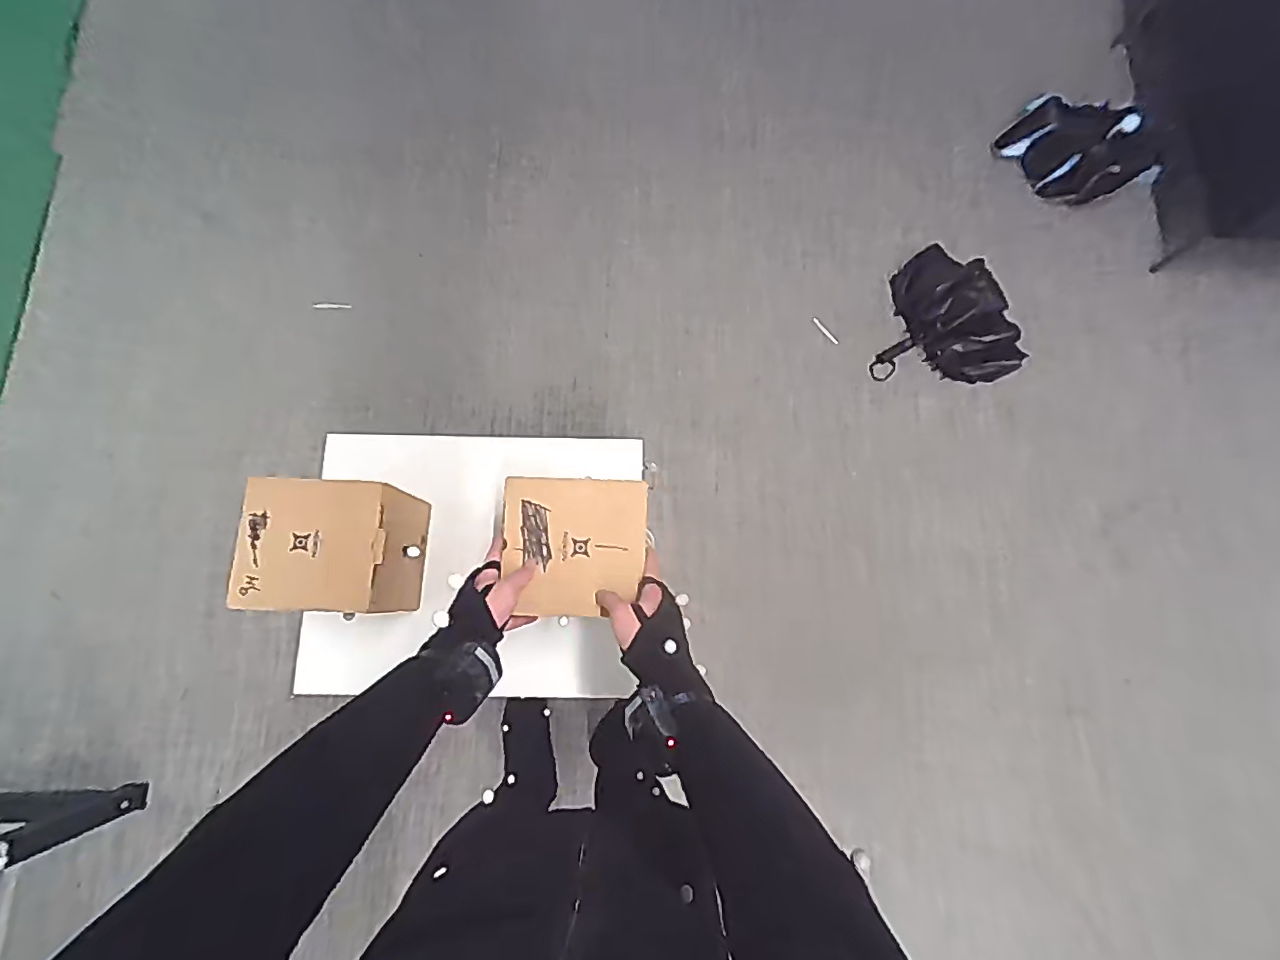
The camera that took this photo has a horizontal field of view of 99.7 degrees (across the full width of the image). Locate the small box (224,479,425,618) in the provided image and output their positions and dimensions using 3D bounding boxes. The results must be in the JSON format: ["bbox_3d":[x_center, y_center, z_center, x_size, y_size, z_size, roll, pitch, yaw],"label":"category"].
[{"bbox_3d":[-0.415,0.098,0.745,0.179,0.176,0.168,2,78,-2],"label":"small box"}]

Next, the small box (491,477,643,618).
[{"bbox_3d":[-0.085,0.093,0.718,0.179,0.176,0.168,1,80,-1],"label":"small box"}]
